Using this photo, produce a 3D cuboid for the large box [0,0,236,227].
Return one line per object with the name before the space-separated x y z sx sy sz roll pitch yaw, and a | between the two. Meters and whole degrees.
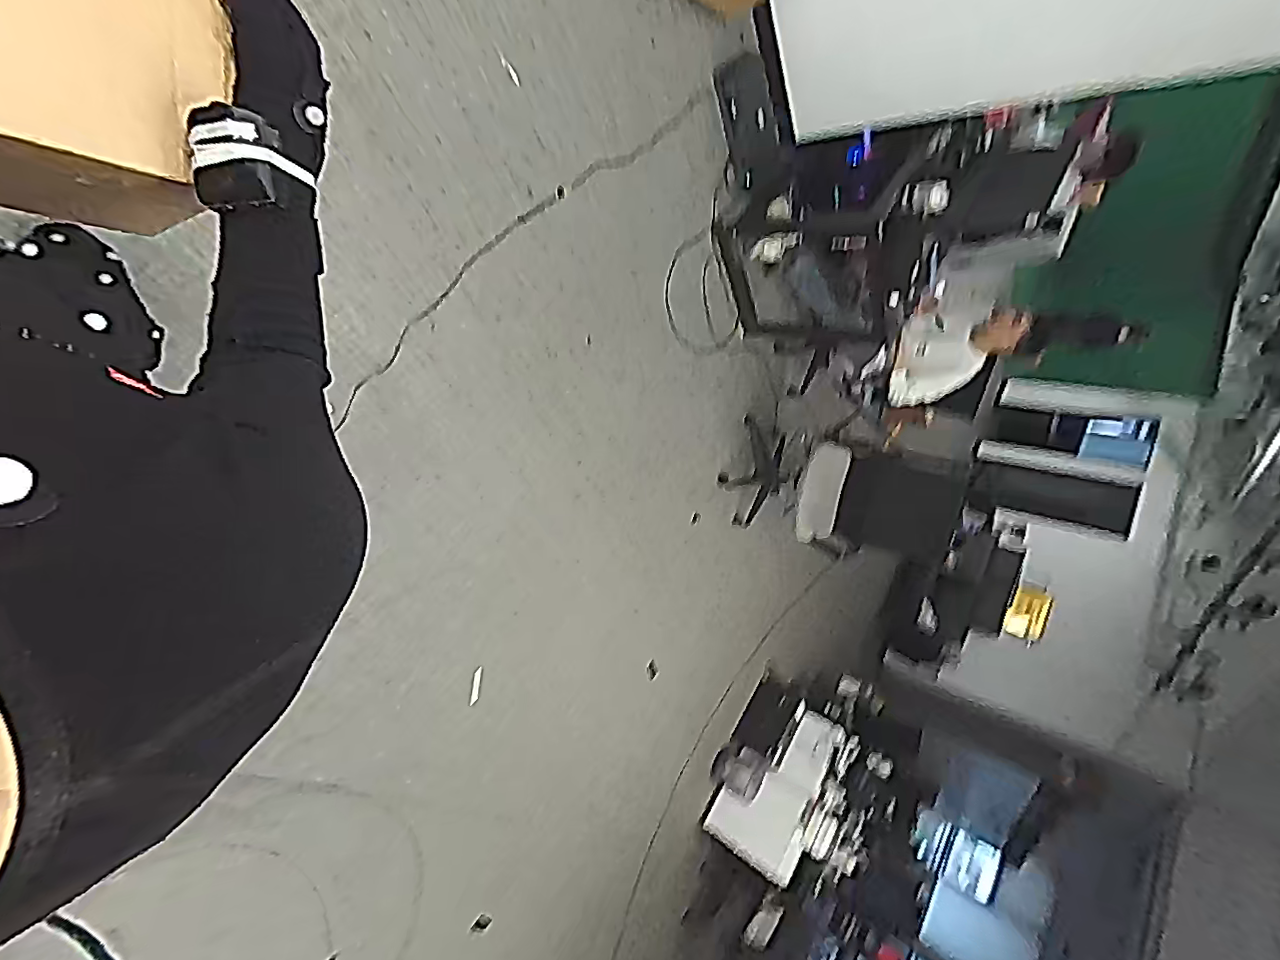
large box | -0.559 -0.389 0.346 0.408 0.320 0.320 -9 107 -51
